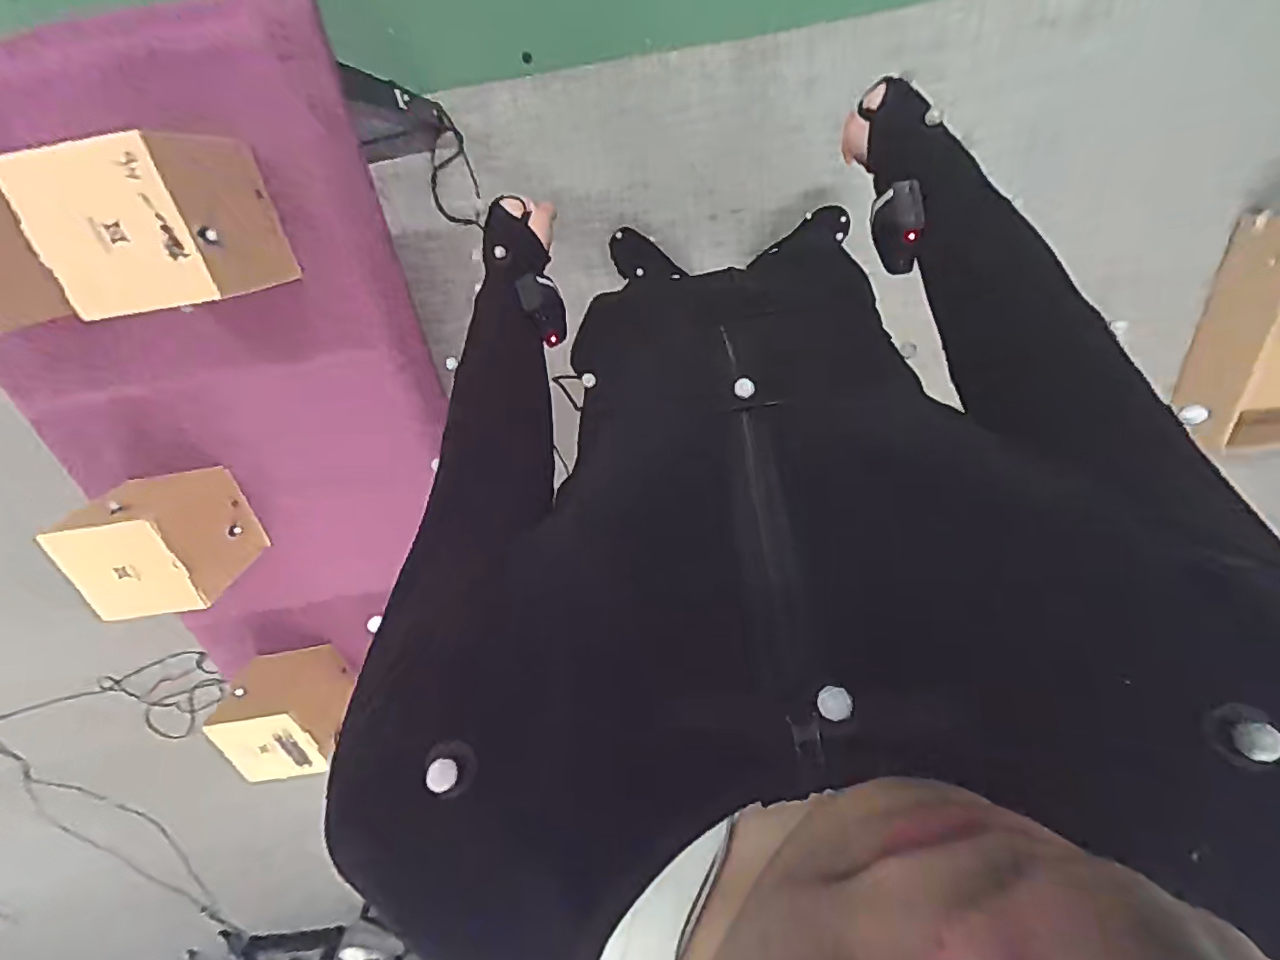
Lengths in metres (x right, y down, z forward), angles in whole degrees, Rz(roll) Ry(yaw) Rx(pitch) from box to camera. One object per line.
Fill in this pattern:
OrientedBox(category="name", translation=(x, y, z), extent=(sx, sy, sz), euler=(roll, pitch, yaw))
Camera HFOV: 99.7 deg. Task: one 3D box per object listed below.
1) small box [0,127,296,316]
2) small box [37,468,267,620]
OrientedBox(category="small box", translation=(-0.563, -0.304, 0.641), extent=(0.179, 0.176, 0.168), euler=(-7, 120, 5))
OrientedBox(category="small box", translation=(-0.755, 0.096, 0.863), extent=(0.179, 0.176, 0.168), euler=(-9, 118, 3))
